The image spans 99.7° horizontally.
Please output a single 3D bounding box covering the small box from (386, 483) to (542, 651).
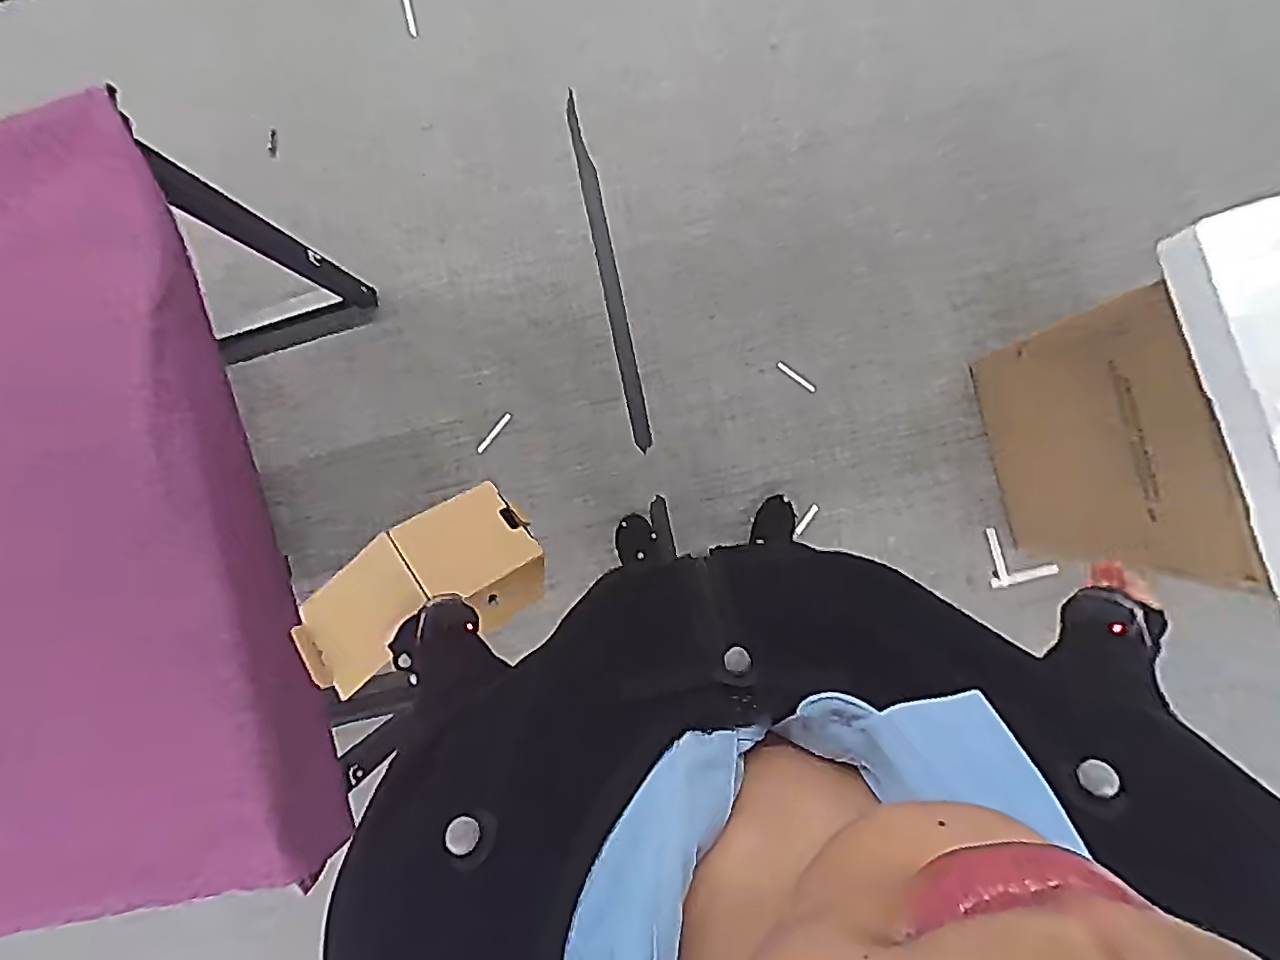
[{"bbox_3d":[-0.271,0.142,0.867,0.179,0.176,0.168,-29,64,-28],"label":"small box"}]
